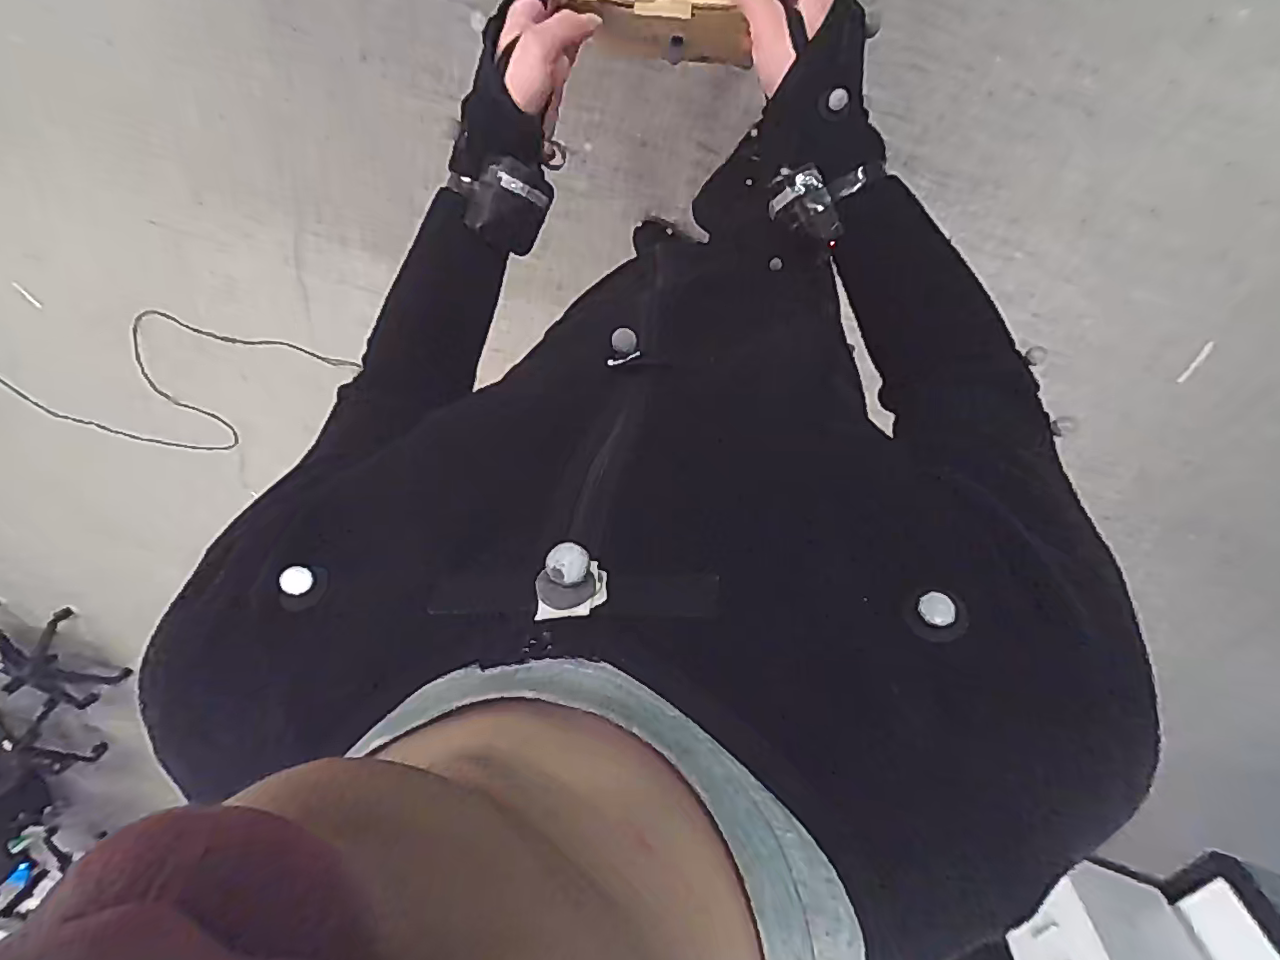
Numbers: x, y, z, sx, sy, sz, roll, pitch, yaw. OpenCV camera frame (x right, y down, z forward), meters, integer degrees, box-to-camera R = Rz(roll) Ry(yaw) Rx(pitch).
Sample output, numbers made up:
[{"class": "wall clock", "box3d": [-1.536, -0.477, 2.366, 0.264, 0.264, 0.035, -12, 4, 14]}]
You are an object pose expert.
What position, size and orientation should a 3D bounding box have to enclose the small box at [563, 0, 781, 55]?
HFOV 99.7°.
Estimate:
[{"class": "small box", "box3d": [0.039, -0.460, 0.422, 0.168, 0.176, 0.179, 10, 117, 7]}]
